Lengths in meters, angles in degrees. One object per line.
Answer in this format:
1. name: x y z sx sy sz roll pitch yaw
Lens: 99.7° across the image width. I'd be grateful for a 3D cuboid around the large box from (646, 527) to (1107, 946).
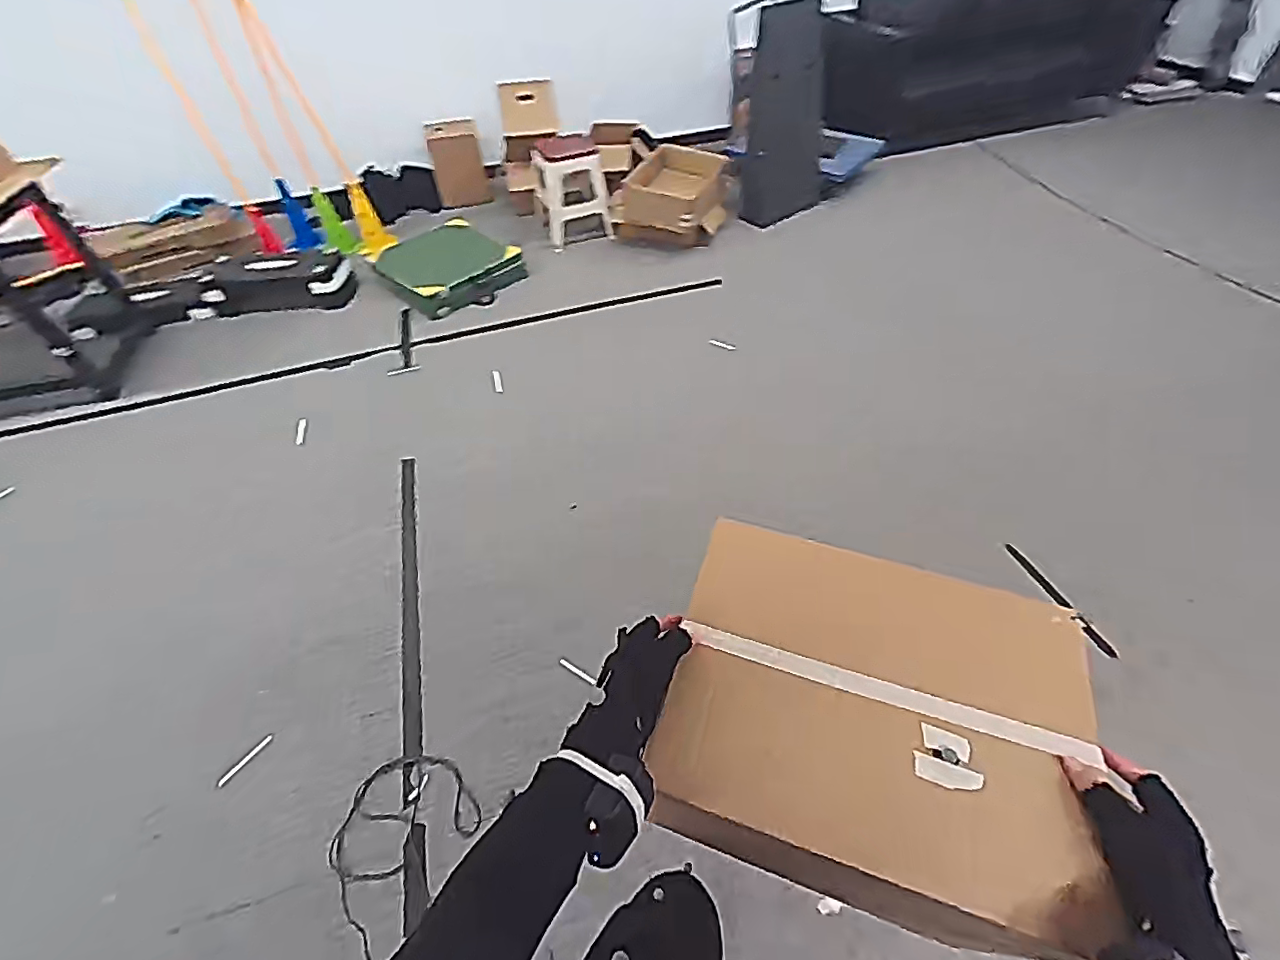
1. large box: 0.240 0.308 0.680 0.408 0.320 0.320 14 55 12
